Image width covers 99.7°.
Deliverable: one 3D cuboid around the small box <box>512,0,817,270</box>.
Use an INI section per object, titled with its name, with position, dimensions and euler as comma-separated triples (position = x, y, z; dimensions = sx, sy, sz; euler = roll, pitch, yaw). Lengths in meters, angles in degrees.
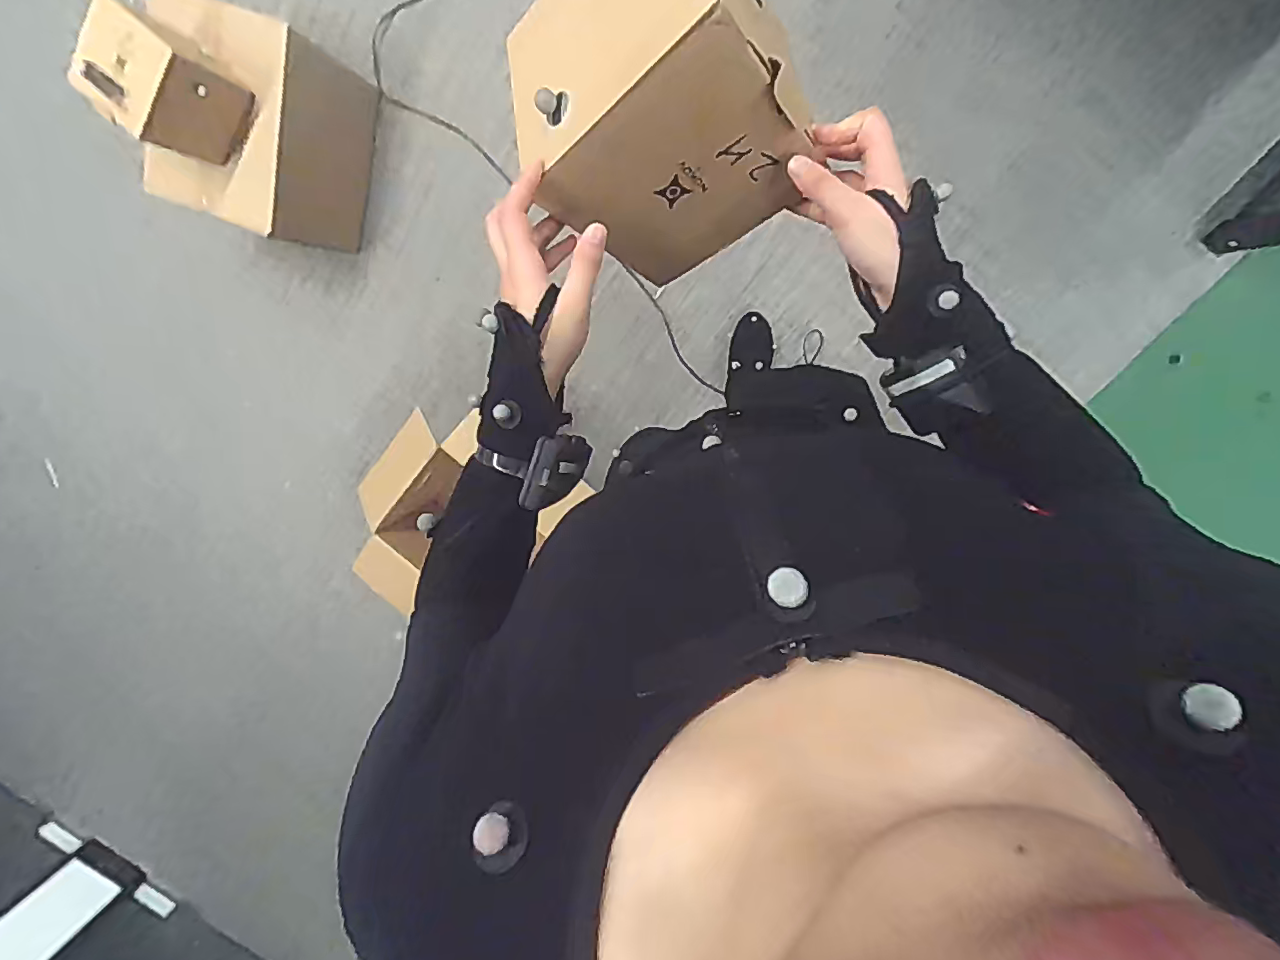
[small box]
position = 0.013, -0.314, 0.433
dimensions = 0.179, 0.168, 0.176
euler = -22, 69, 36
